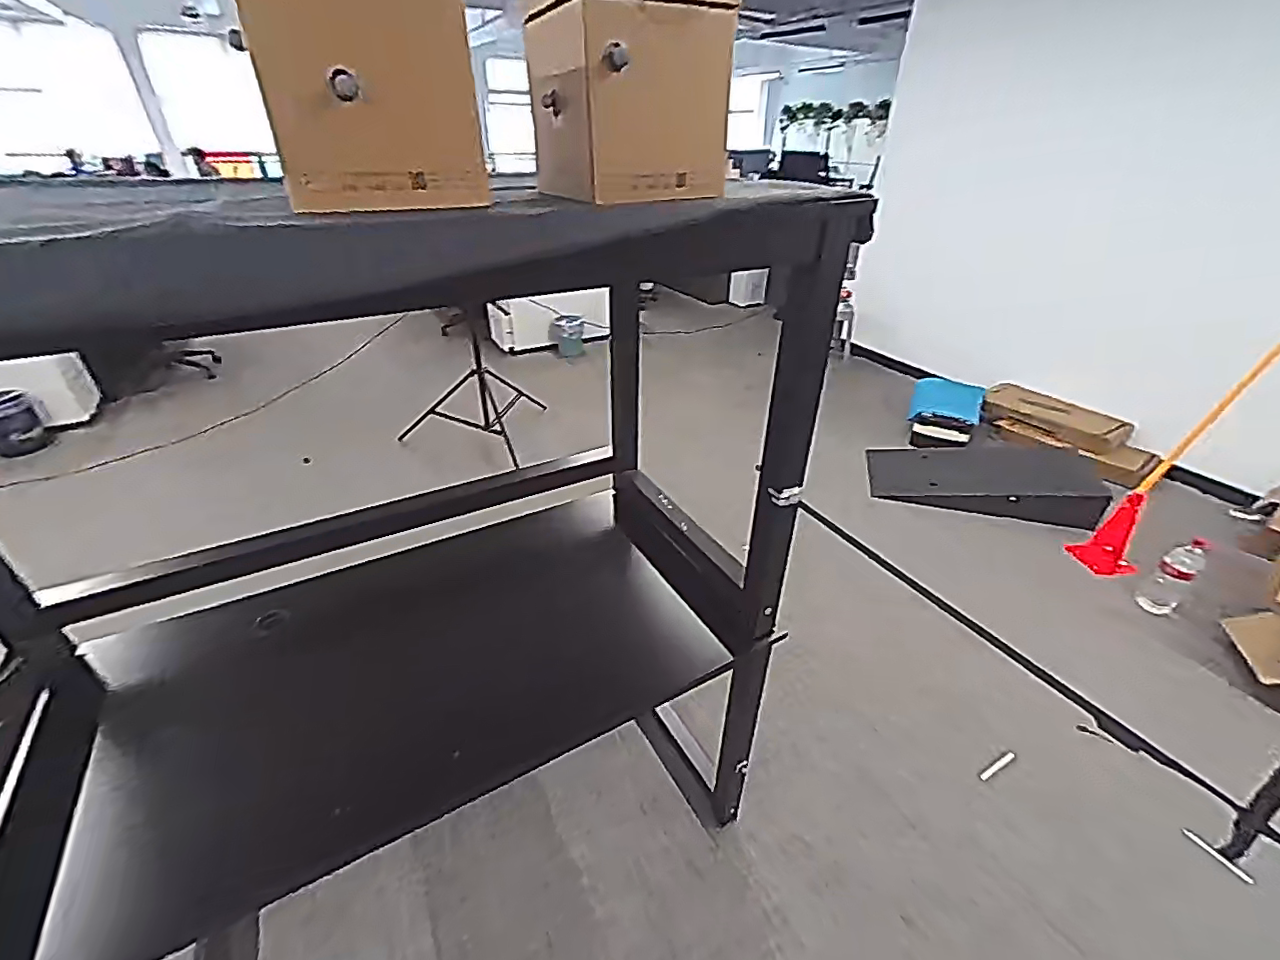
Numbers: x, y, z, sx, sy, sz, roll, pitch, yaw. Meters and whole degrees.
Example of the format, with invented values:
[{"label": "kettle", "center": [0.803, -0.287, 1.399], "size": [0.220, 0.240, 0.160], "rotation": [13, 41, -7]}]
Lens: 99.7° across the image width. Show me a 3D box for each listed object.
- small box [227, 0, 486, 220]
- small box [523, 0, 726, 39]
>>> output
[{"label": "small box", "center": [-0.253, -0.343, 0.508], "size": [0.168, 0.176, 0.179], "rotation": [-15, 34, -23]}, {"label": "small box", "center": [-0.017, -0.539, 0.512], "size": [0.179, 0.176, 0.168], "rotation": [-17, 34, -23]}]
